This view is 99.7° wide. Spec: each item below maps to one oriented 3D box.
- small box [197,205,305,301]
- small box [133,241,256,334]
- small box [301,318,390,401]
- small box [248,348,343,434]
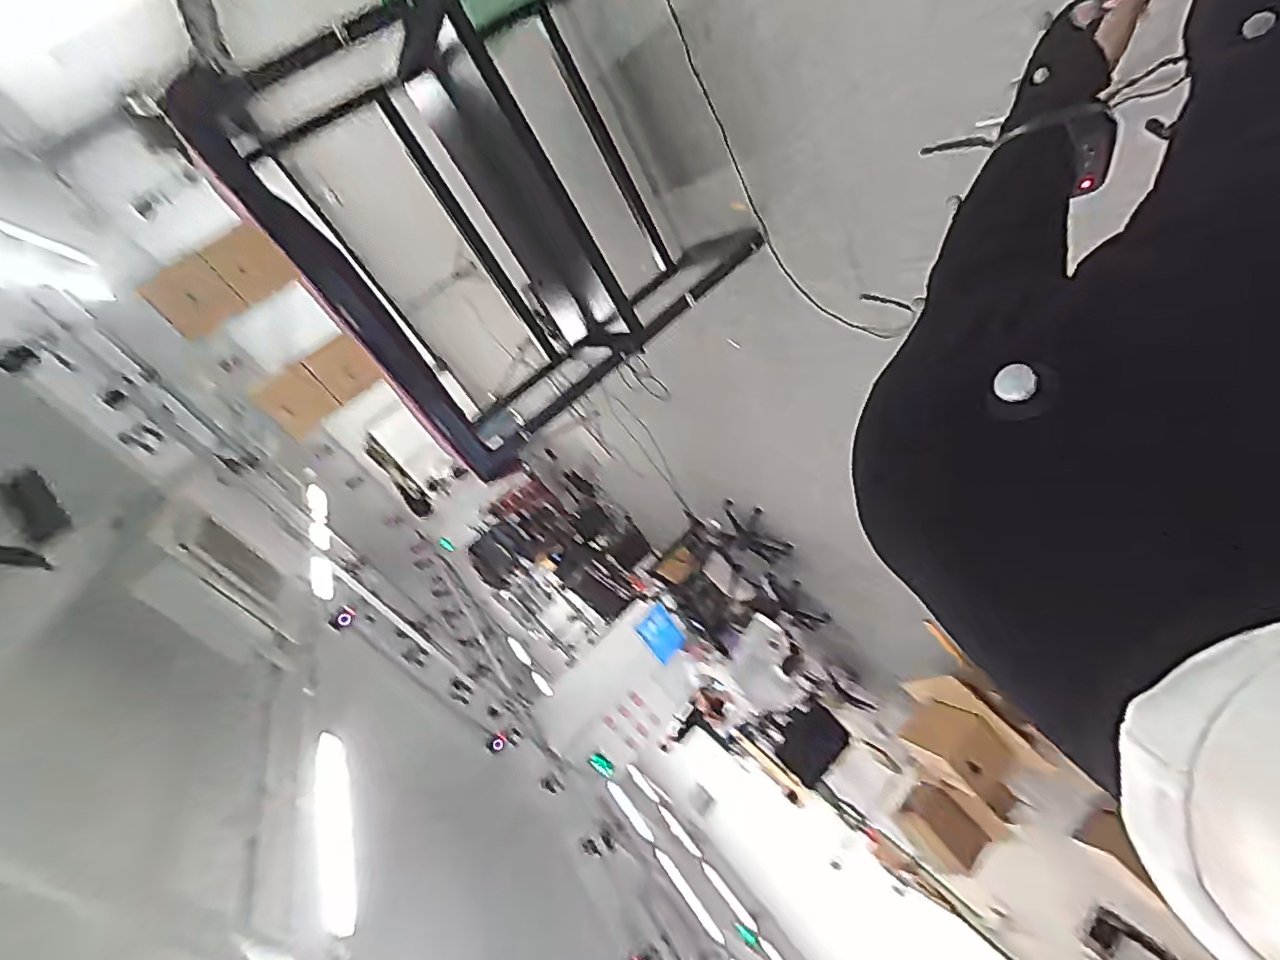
[{"bbox_3d":[-1.049,-0.616,1.480,0.168,0.176,0.179,22,150,56],"label":"small box"},{"bbox_3d":[-1.169,-0.512,1.435,0.179,0.176,0.168,55,163,-27],"label":"small box"},{"bbox_3d":[-0.897,-0.370,1.652,0.168,0.176,0.179,27,154,54],"label":"small box"},{"bbox_3d":[-1.018,-0.268,1.609,0.168,0.176,0.179,28,153,53],"label":"small box"}]
